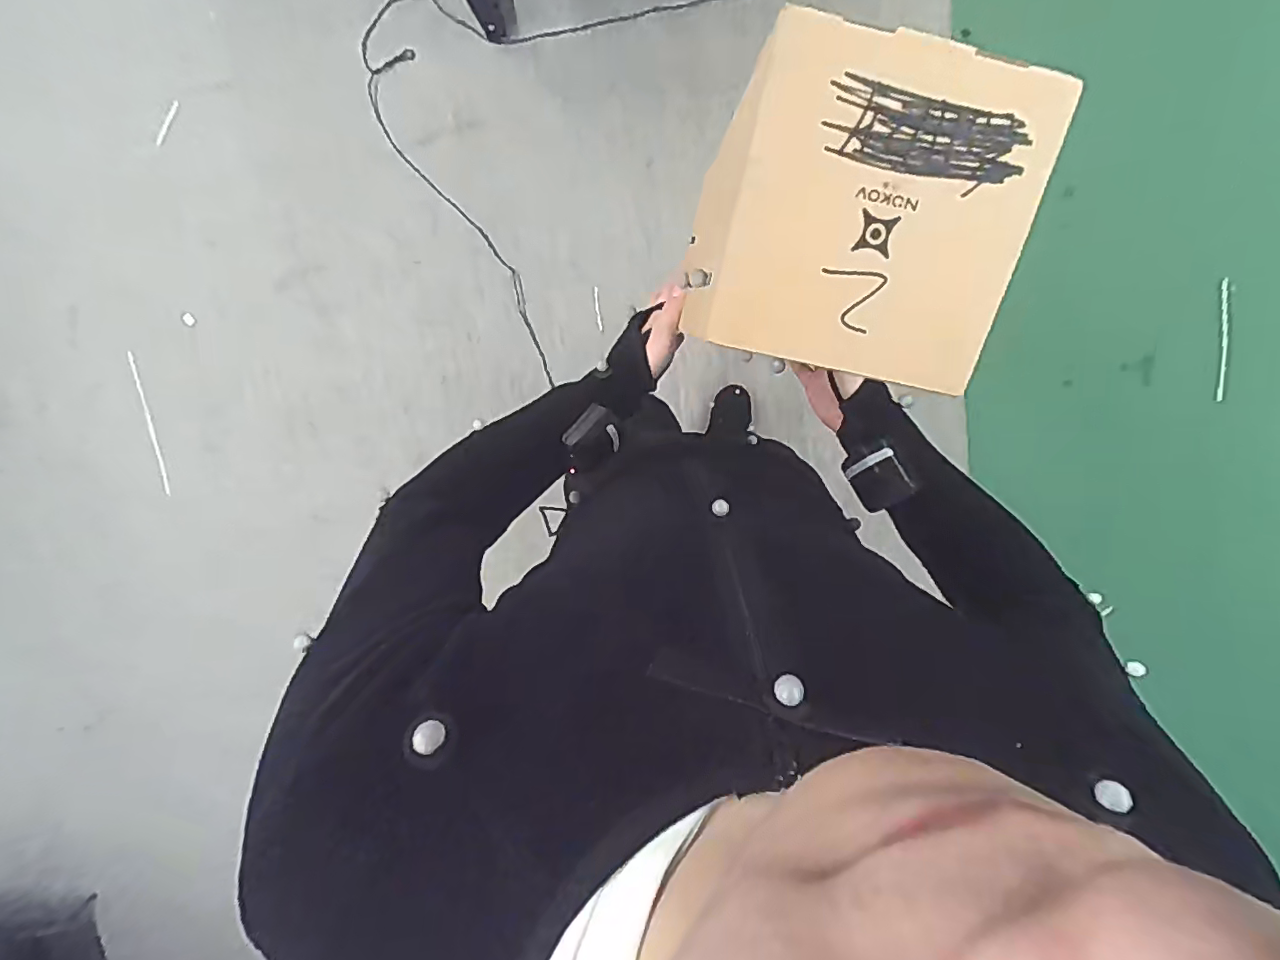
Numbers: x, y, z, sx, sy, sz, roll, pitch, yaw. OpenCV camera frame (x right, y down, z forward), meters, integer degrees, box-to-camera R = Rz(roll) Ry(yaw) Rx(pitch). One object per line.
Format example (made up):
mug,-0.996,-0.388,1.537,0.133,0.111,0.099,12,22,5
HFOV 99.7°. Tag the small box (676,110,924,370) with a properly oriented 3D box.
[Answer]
small box,0.133,-0.217,0.531,0.168,0.176,0.179,12,105,-4
